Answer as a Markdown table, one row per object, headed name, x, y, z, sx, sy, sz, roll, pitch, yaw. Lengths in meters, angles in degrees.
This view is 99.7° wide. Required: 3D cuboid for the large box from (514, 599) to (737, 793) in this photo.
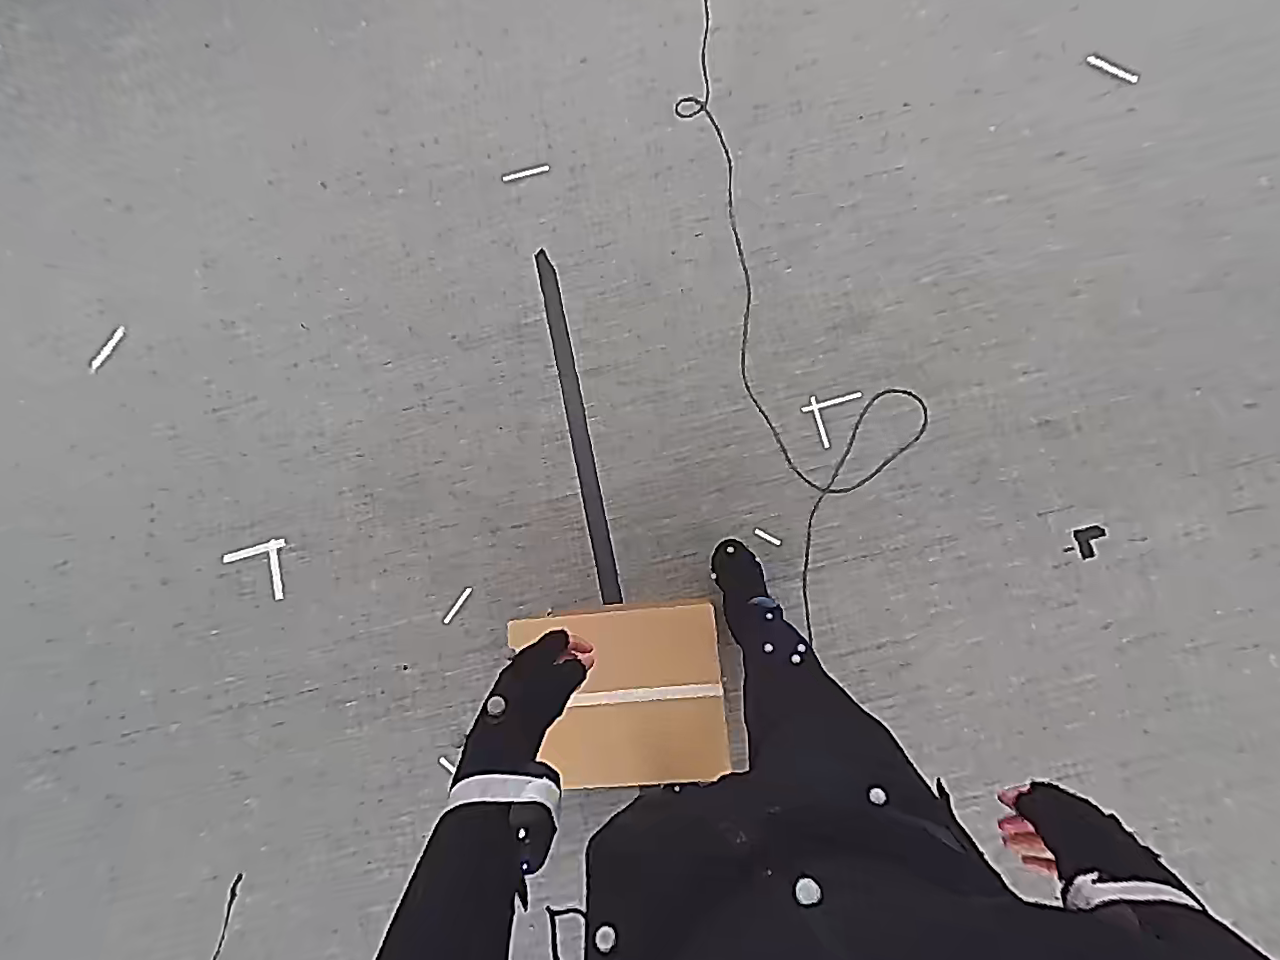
| name | x | y | z | sx | sy | sz | roll | pitch | yaw |
| --- | --- | --- | --- | --- | --- | --- | --- | --- | --- |
| large box | -0.023 | 0.434 | 1.159 | 0.408 | 0.320 | 0.320 | -6 | 81 | 4 |
